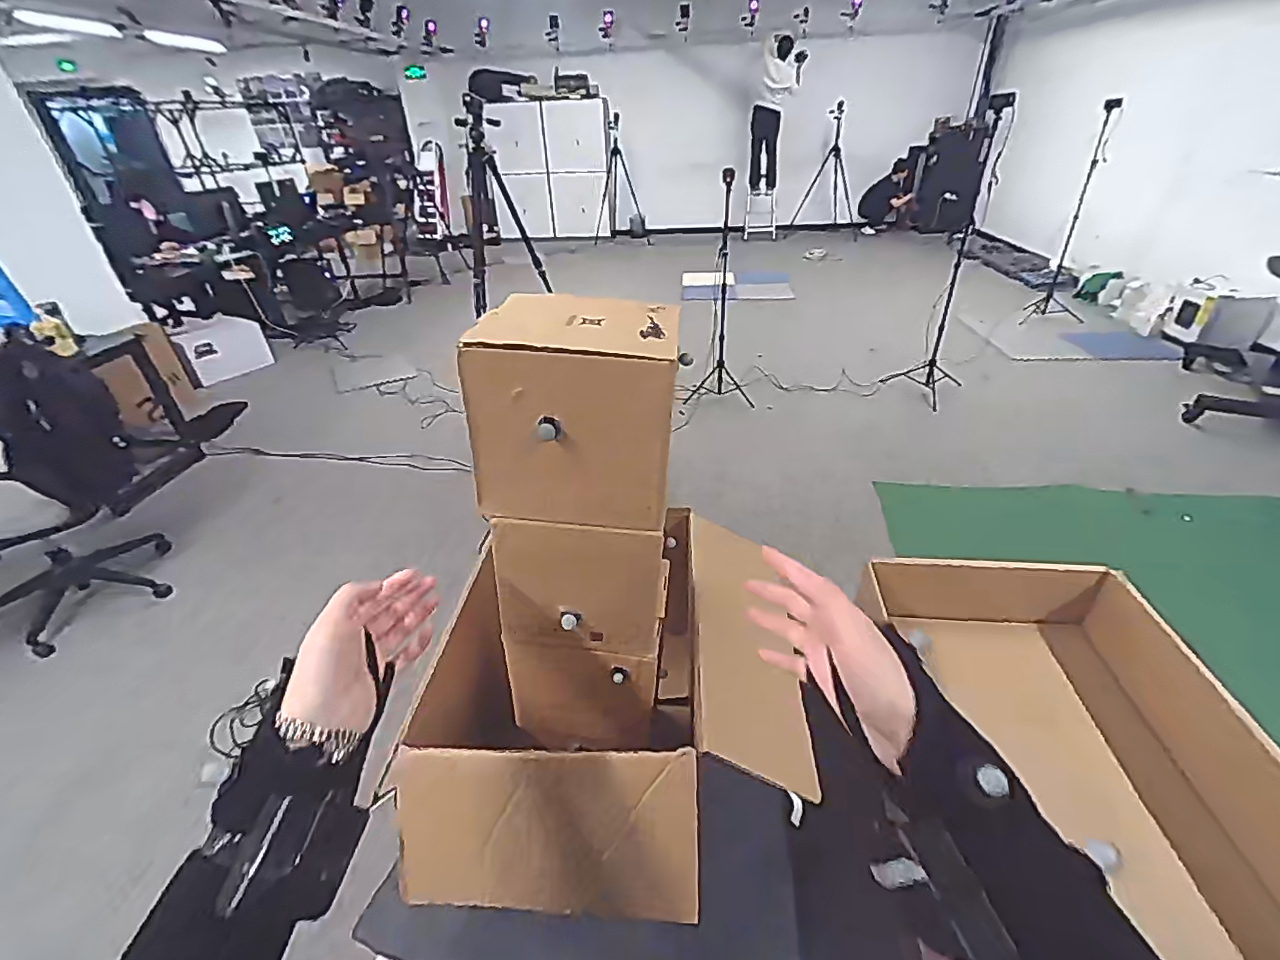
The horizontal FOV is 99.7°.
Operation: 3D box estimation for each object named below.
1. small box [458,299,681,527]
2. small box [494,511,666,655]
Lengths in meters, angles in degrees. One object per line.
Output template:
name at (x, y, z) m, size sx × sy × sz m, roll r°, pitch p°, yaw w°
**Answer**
small box at (-0.054, -0.069, 0.529) m, size 0.179 × 0.176 × 0.168 m, roll 4°, pitch 33°, yaw 3°
small box at (-0.056, 0.069, 0.617) m, size 0.168 × 0.176 × 0.179 m, roll 5°, pitch 33°, yaw 2°
